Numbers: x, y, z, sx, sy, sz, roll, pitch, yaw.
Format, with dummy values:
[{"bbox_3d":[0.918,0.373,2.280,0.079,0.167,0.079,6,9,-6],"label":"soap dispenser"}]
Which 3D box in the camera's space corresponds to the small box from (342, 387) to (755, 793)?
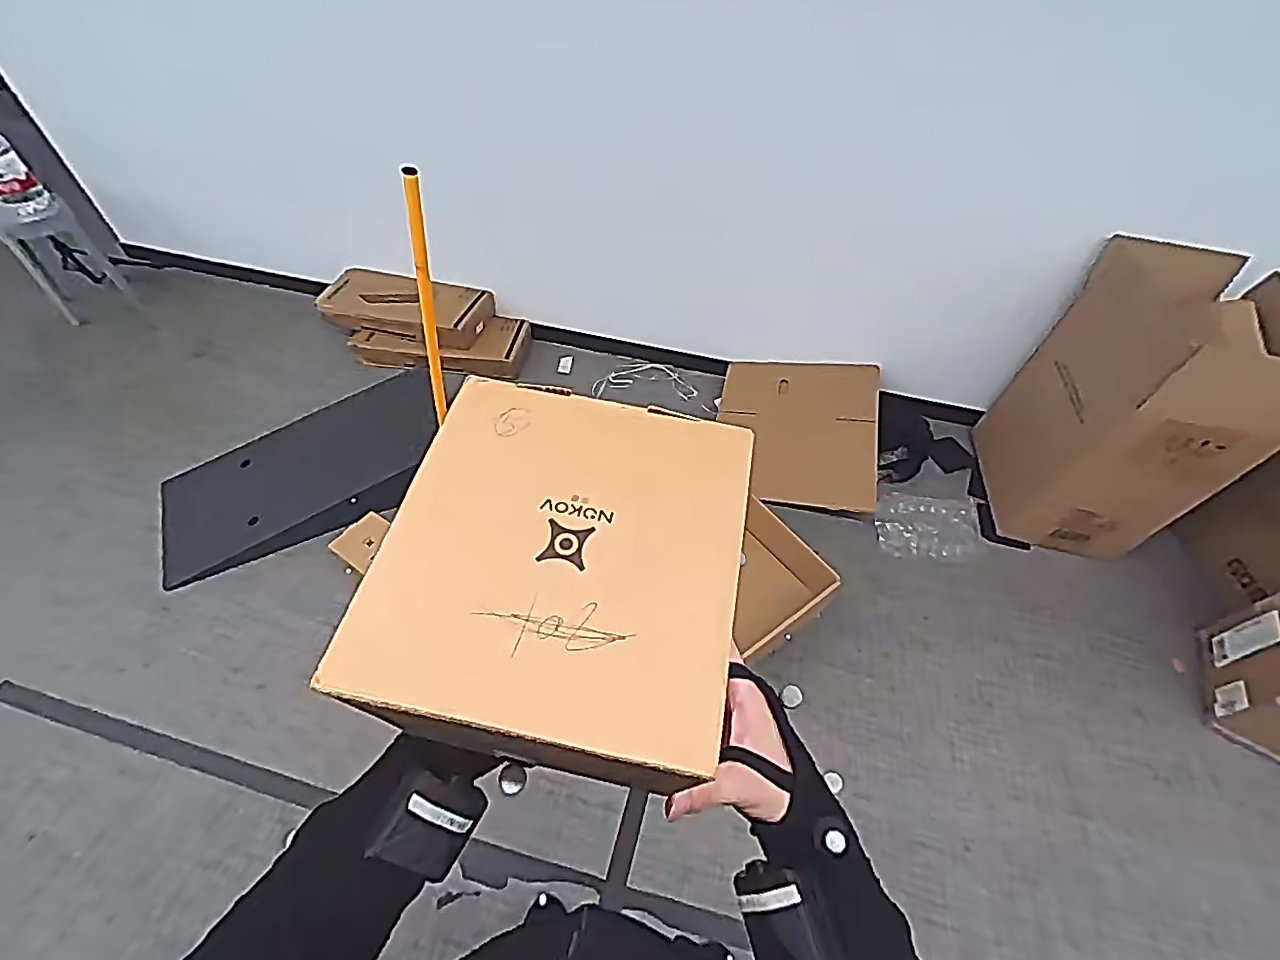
[{"bbox_3d":[-0.037,0.076,0.335,0.168,0.176,0.179,12,58,3],"label":"small box"}]
